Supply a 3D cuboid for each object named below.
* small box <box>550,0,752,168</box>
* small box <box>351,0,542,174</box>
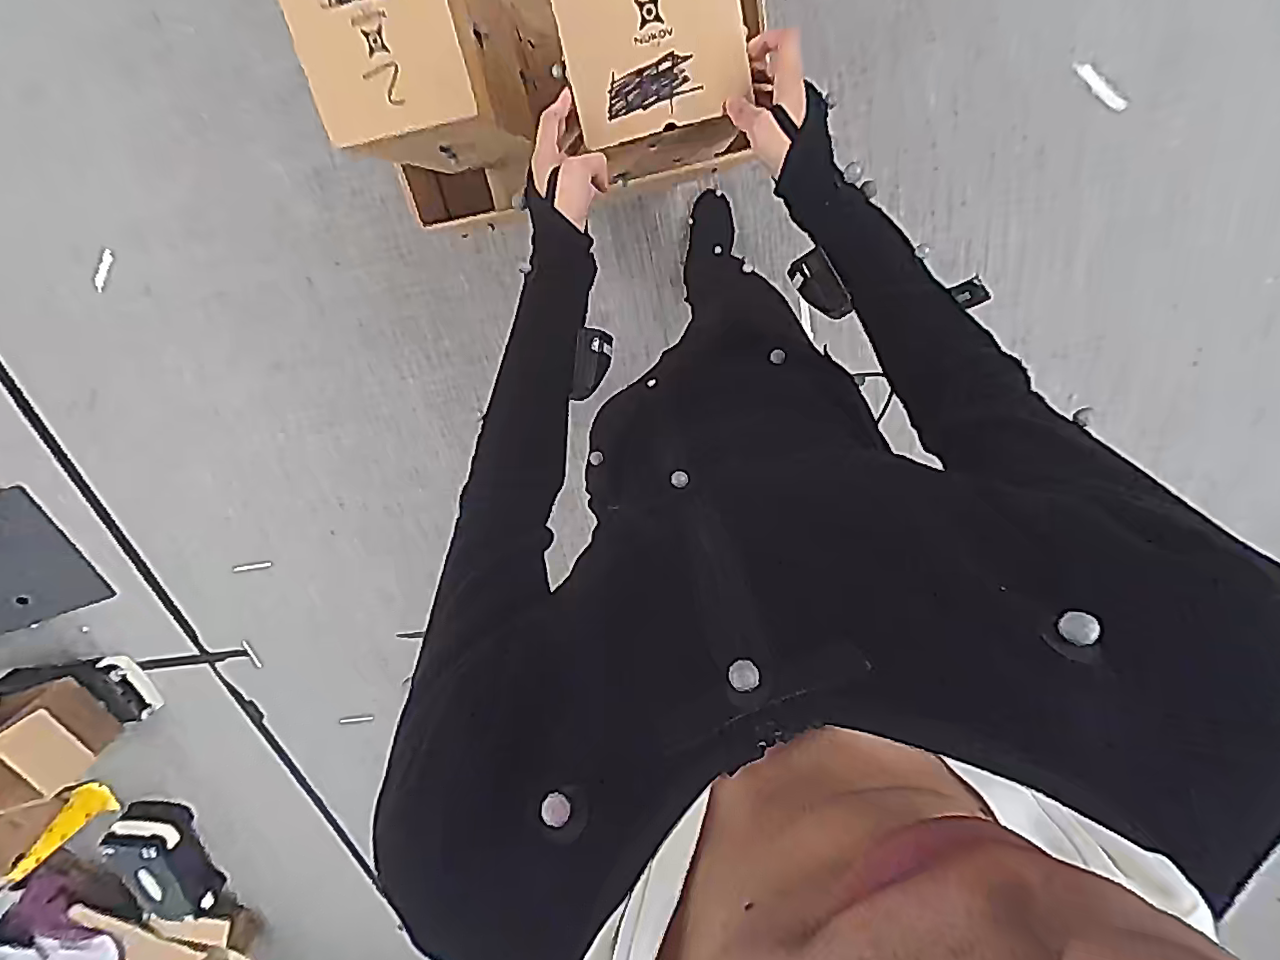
[{"bbox_3d":[0.005,-0.440,0.554,0.168,0.176,0.179,-14,109,3],"label":"small box"},{"bbox_3d":[-0.250,-0.544,0.747,0.168,0.176,0.179,-9,114,9],"label":"small box"}]
